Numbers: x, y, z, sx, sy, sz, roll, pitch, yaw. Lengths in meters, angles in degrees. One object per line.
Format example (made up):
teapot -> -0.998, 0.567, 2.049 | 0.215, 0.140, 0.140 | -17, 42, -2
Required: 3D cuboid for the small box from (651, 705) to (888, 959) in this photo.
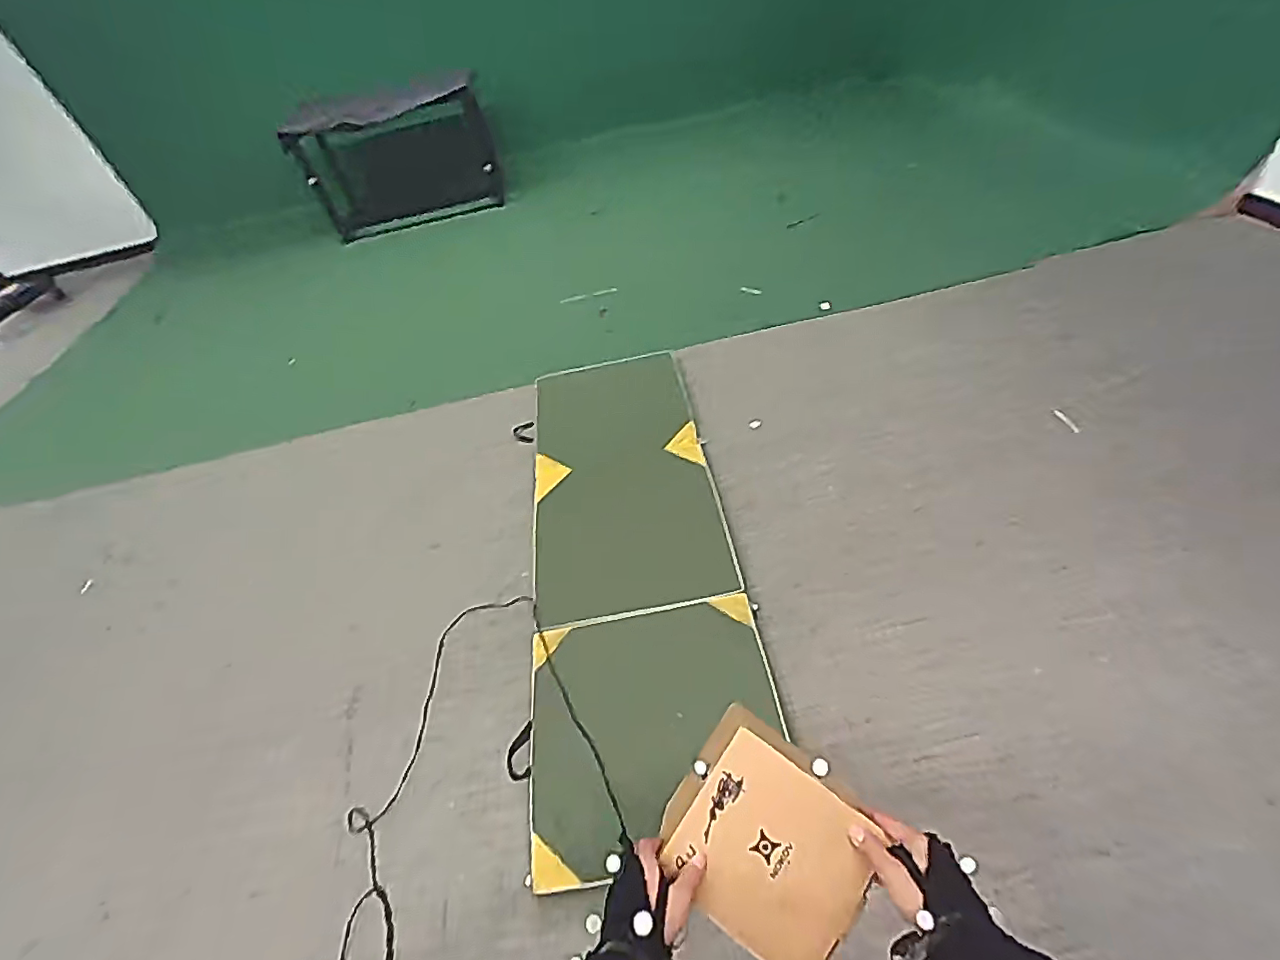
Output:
small box -> 0.134, 0.378, 0.606 | 0.179, 0.176, 0.168 | 33, 81, 14
